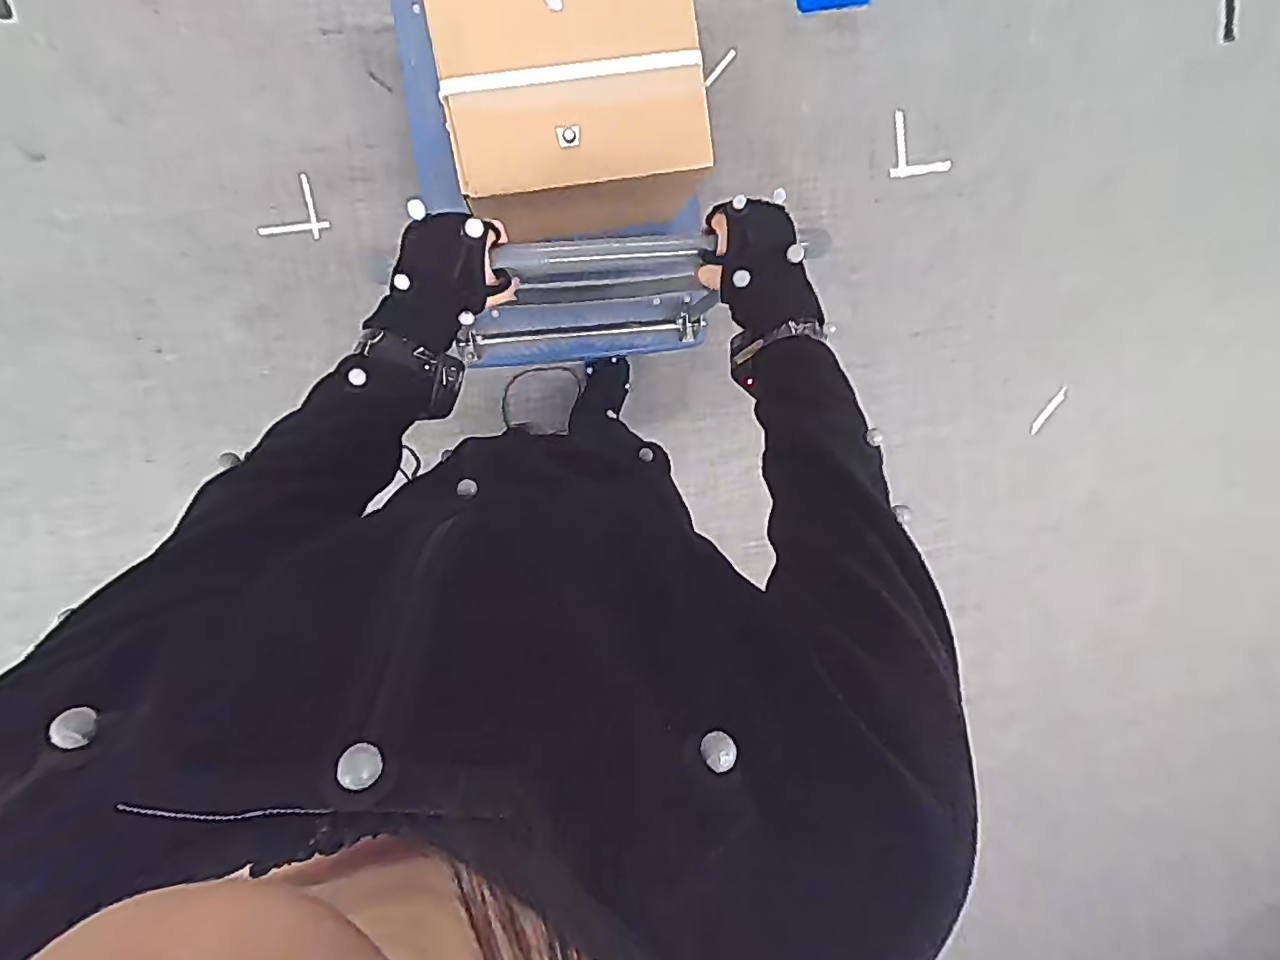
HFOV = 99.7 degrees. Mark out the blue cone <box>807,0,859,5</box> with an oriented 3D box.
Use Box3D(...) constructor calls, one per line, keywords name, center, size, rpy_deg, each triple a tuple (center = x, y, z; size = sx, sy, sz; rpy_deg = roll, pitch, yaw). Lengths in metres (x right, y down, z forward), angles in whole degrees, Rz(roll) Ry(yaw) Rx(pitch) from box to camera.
Box3D(name="blue cone", center=(0.494, -1.230, 1.141), size=(0.193, 0.380, 0.192), rpy_deg=(-12, 100, -7))
